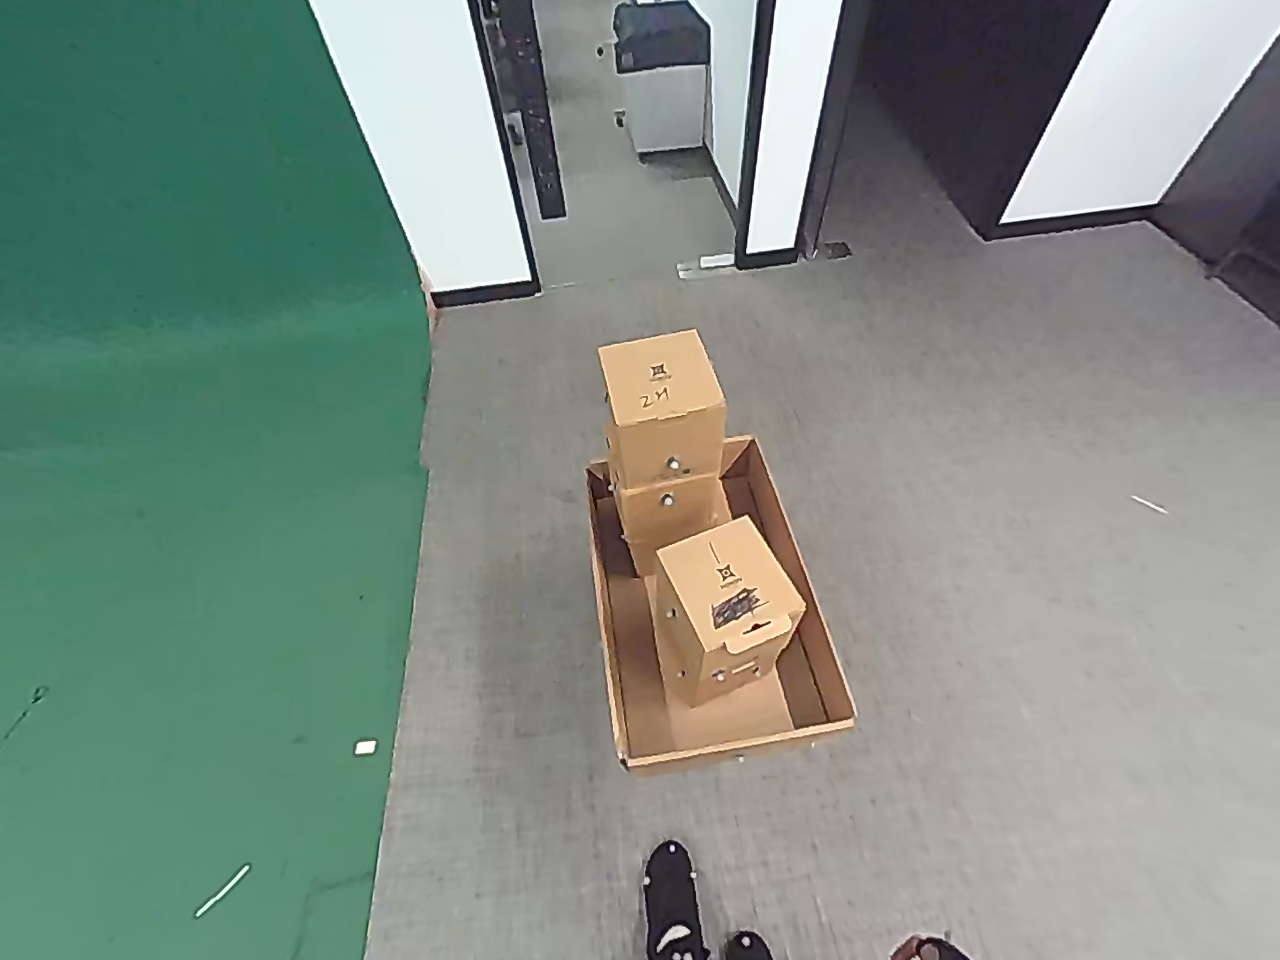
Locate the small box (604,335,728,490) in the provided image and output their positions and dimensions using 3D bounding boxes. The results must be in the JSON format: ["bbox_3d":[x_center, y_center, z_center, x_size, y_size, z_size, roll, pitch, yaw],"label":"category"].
[{"bbox_3d":[0.040,-0.110,0.901,0.168,0.176,0.179,-11,55,-3],"label":"small box"}]

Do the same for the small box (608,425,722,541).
[{"bbox_3d":[0.044,-0.005,1.028,0.179,0.176,0.168,-13,55,-4],"label":"small box"}]

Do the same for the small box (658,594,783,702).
[{"bbox_3d":[0.142,0.294,1.009,0.168,0.176,0.179,-19,55,-11],"label":"small box"}]

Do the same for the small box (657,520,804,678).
[{"bbox_3d":[0.136,0.200,0.876,0.168,0.176,0.179,-19,54,-11],"label":"small box"}]
